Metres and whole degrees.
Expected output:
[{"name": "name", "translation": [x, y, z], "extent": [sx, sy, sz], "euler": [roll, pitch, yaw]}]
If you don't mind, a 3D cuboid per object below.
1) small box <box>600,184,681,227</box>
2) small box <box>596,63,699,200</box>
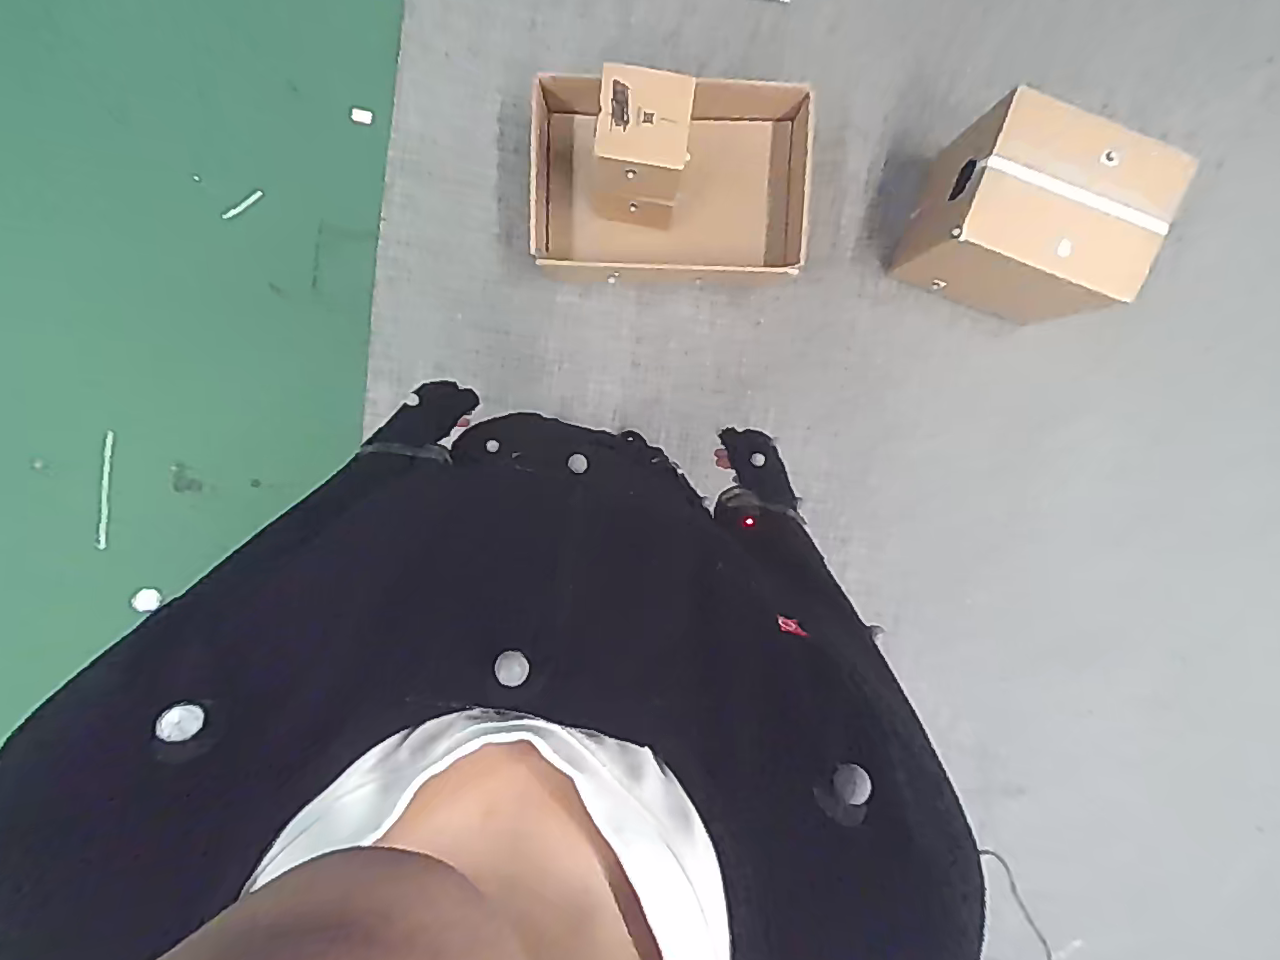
[{"name": "small box", "translation": [0.007, -0.706, 1.250], "extent": [0.179, 0.176, 0.168], "euler": [8, 97, -4]}, {"name": "small box", "translation": [0.010, -0.687, 1.087], "extent": [0.179, 0.176, 0.168], "euler": [7, 97, -4]}]
